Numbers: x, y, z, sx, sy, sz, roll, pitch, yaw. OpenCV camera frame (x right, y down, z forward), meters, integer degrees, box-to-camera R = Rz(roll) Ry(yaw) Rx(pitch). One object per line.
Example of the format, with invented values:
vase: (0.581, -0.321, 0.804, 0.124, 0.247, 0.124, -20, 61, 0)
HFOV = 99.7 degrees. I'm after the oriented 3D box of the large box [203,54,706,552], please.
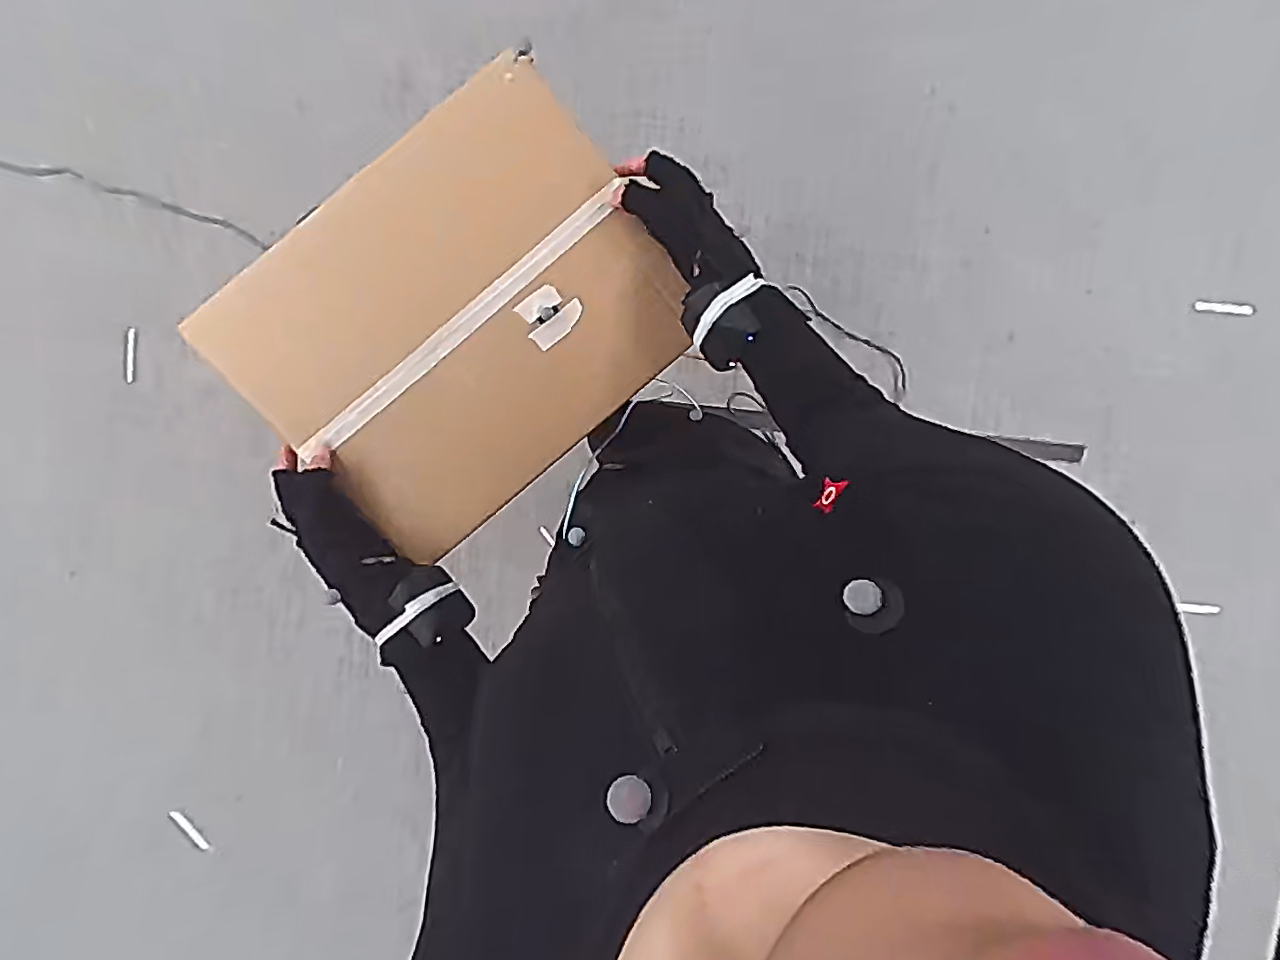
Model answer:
large box: (-0.191, -0.182, 0.684, 0.408, 0.320, 0.320, -40, 101, 0)
